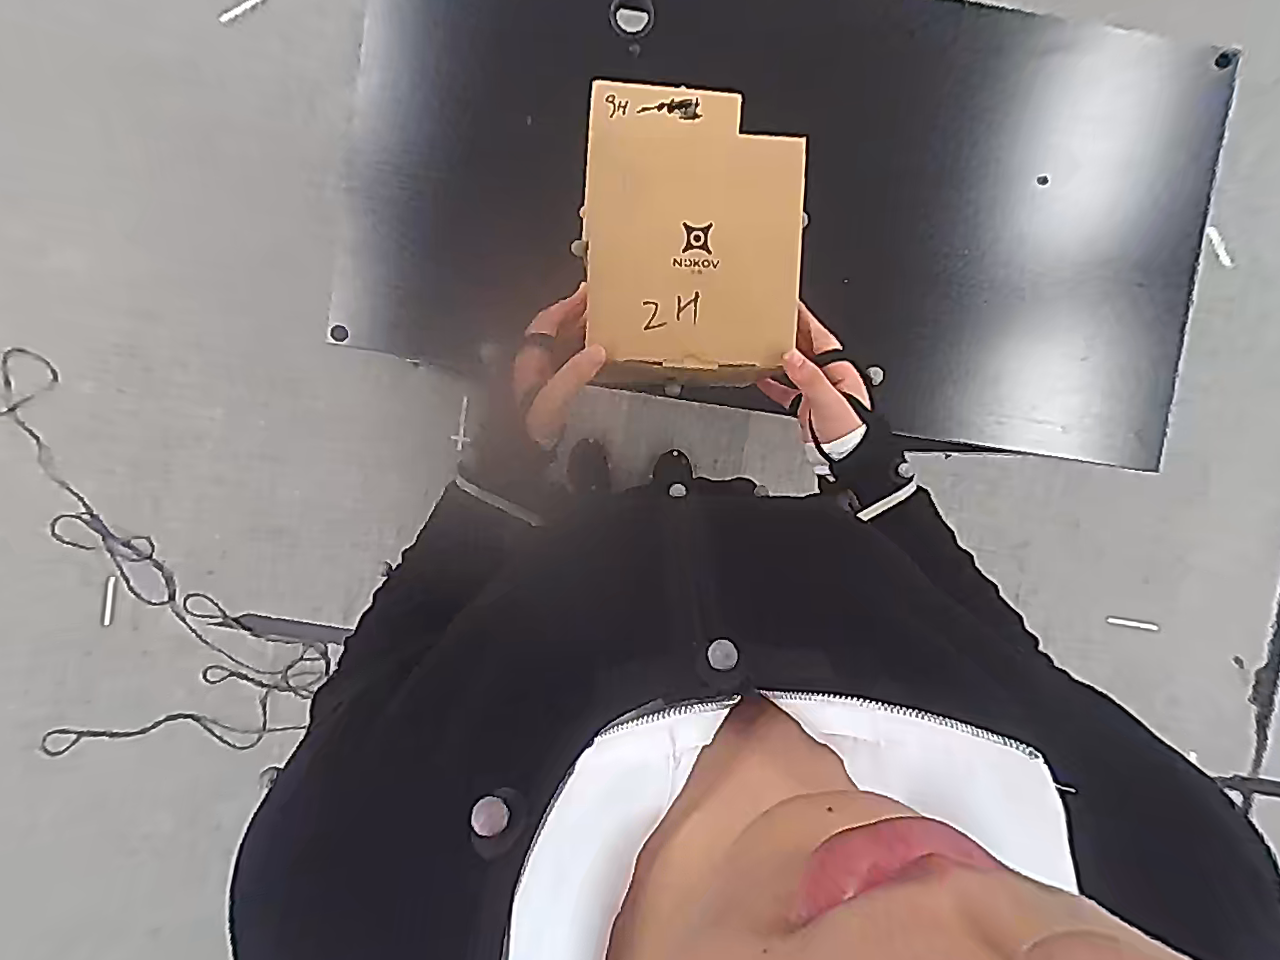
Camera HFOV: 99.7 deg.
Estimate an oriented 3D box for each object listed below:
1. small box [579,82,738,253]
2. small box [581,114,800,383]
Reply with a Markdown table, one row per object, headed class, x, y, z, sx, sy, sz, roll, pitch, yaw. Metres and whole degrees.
| class | x | y | z | sx | sy | sz | roll | pitch | yaw |
| --- | --- | --- | --- | --- | --- | --- | --- | --- | --- |
| small box | 0.020 | -0.348 | 0.676 | 0.168 | 0.176 | 0.179 | 4 | 93 | -2 |
| small box | 0.035 | -0.190 | 0.494 | 0.168 | 0.176 | 0.179 | 2 | 94 | -2 |
